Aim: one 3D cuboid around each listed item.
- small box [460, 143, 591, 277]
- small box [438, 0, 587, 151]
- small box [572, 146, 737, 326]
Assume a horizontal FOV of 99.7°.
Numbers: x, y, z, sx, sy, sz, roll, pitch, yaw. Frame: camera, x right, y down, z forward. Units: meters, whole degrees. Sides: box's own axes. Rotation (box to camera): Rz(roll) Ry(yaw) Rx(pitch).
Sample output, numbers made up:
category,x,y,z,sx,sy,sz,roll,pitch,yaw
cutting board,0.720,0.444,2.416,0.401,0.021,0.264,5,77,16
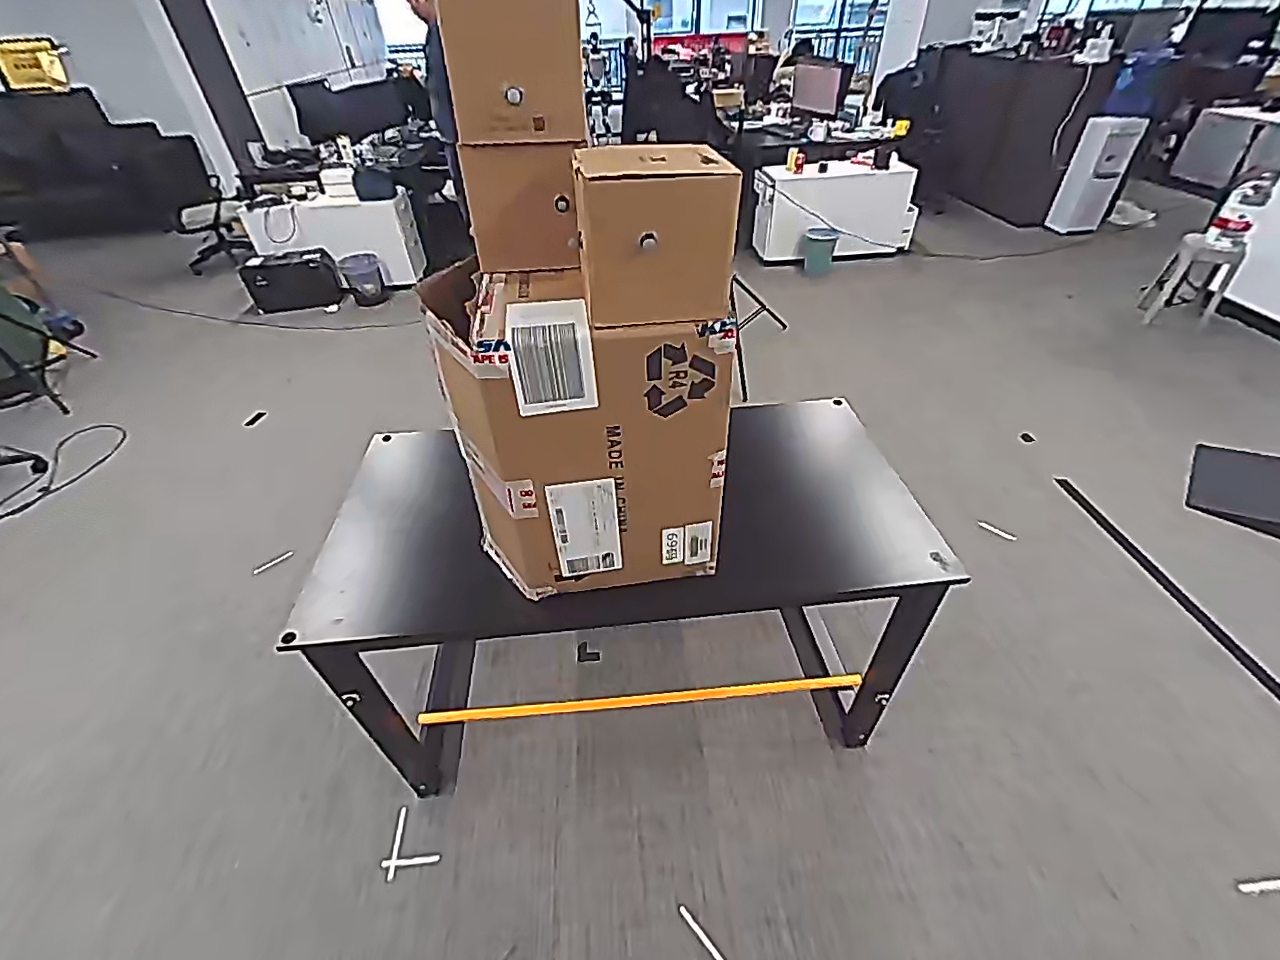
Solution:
category,x,y,z,sx,sy,sz,roll,pitch,yaw
small box,-0.163,-0.425,0.834,0.179,0.176,0.168,-7,38,-6
small box,-0.162,-0.551,0.728,0.168,0.176,0.179,-6,38,-6
small box,0.013,-0.310,0.691,0.179,0.176,0.168,-7,43,-6
